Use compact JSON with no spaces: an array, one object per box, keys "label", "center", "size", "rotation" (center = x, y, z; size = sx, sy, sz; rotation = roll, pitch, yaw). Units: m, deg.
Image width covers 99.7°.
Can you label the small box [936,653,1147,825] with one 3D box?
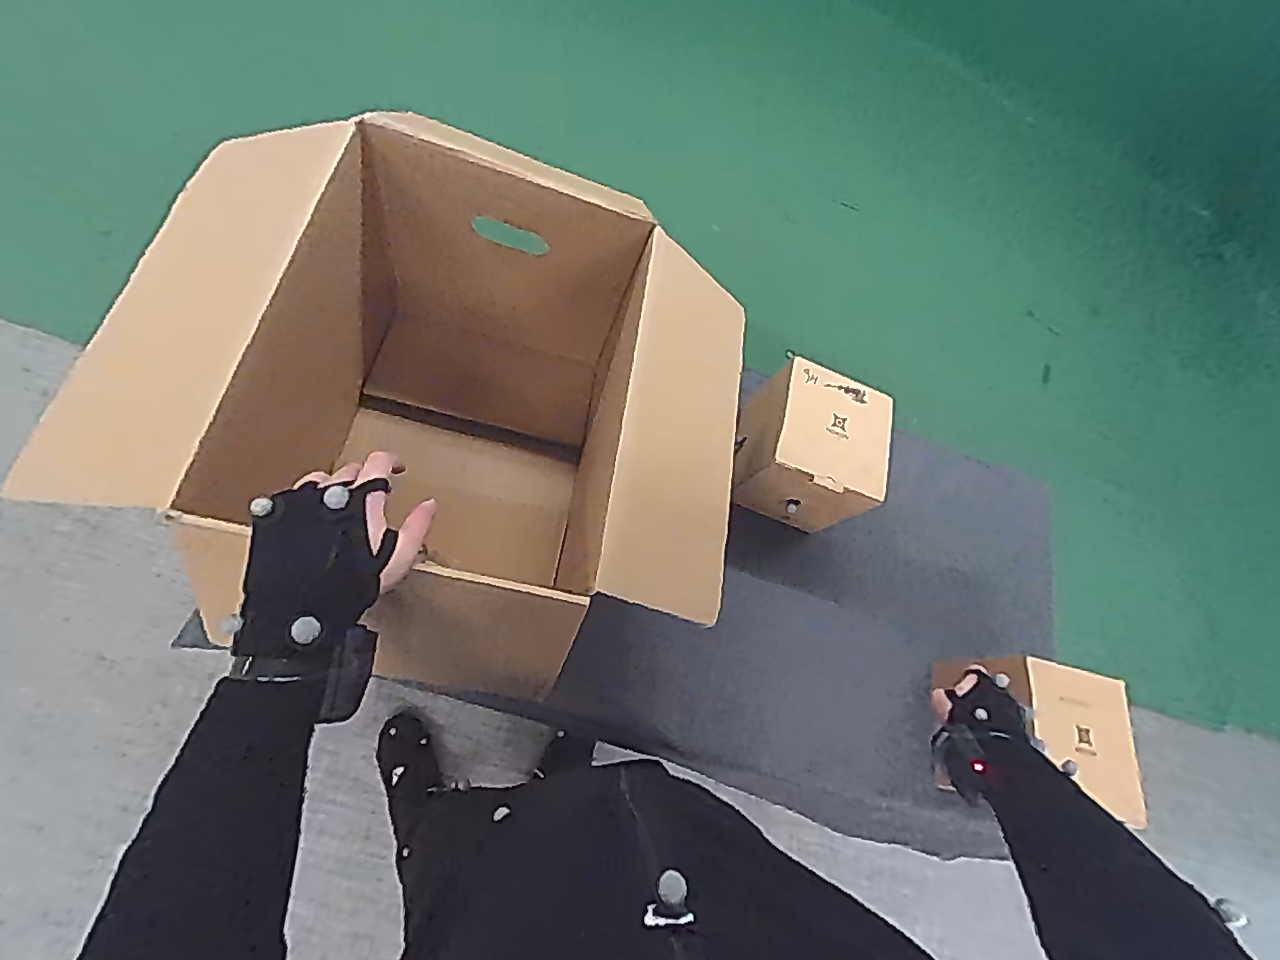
[{"label":"small box","center":[0.545,0.354,0.760],"size":[0.168,0.176,0.179],"rotation":[17,65,-11]}]
